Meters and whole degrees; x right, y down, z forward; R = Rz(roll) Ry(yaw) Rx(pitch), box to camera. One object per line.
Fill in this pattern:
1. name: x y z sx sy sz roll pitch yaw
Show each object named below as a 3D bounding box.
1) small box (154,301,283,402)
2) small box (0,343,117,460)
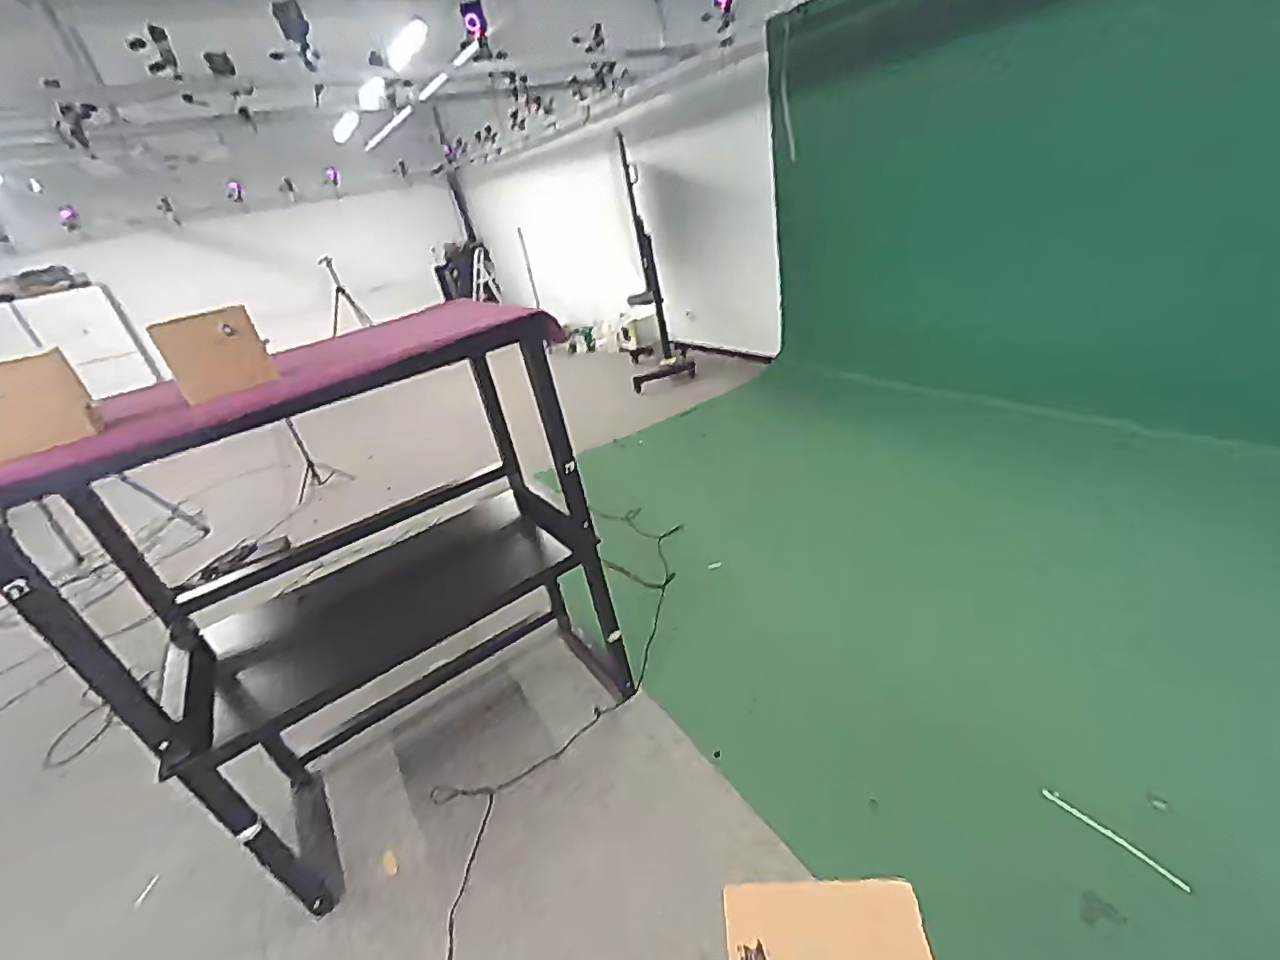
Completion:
1. small box: -0.926 -0.292 1.208 0.179 0.176 0.168 -26 30 -25
2. small box: -1.186 -0.155 1.054 0.179 0.176 0.168 -27 32 -29
